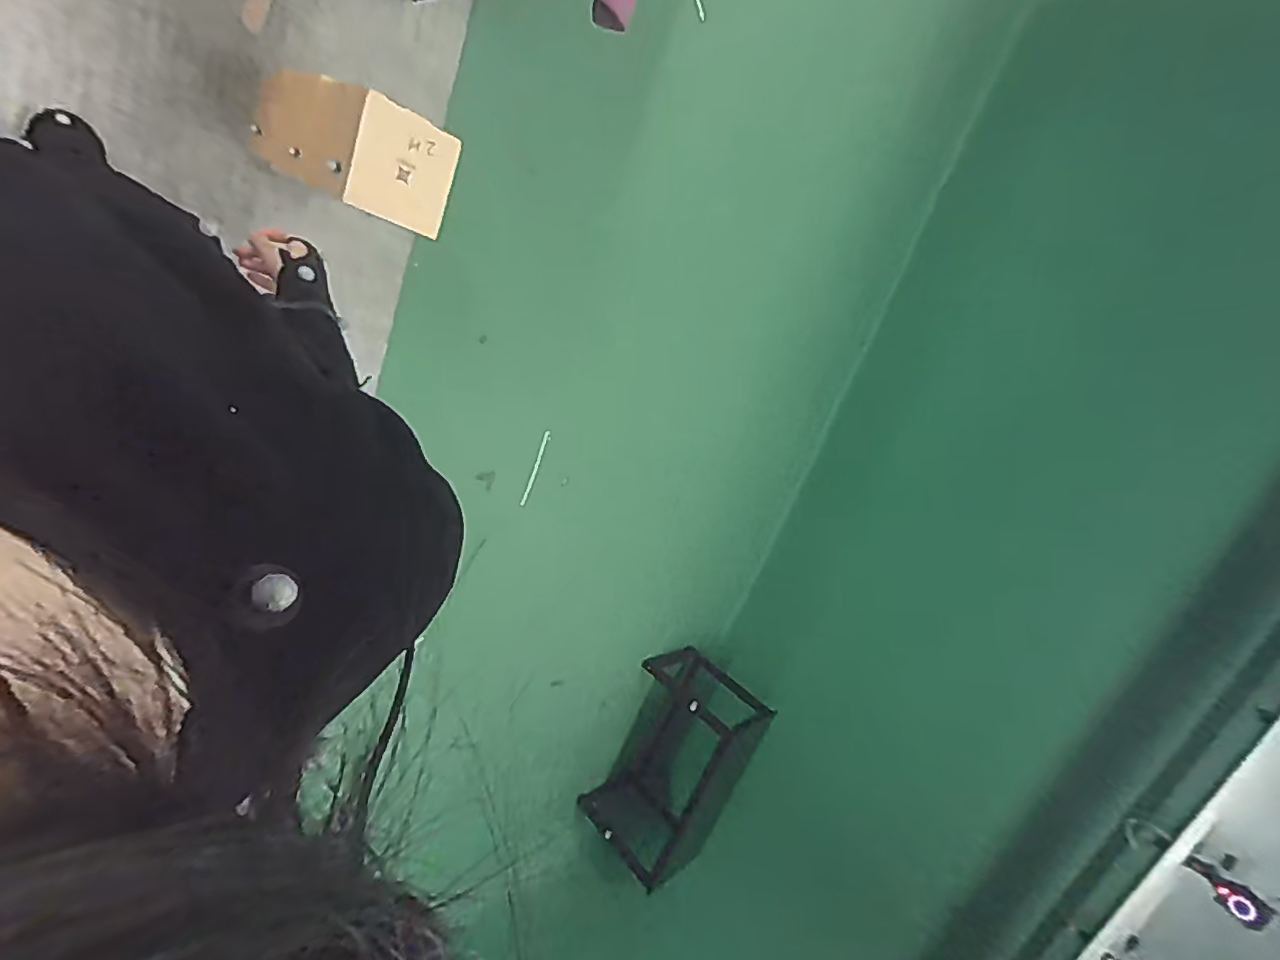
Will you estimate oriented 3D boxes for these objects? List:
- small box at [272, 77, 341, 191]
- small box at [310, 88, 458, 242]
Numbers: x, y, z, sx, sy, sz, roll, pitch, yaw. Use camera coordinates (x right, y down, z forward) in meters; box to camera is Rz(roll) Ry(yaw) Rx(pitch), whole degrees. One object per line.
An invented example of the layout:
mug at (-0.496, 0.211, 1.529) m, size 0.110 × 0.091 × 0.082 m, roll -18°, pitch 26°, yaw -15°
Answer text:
small box at (-0.575, -0.633, 1.033) m, size 0.168 × 0.176 × 0.179 m, roll 2°, pitch 116°, yaw -51°
small box at (-0.455, -0.551, 0.952) m, size 0.168 × 0.176 × 0.179 m, roll 3°, pitch 114°, yaw -52°
